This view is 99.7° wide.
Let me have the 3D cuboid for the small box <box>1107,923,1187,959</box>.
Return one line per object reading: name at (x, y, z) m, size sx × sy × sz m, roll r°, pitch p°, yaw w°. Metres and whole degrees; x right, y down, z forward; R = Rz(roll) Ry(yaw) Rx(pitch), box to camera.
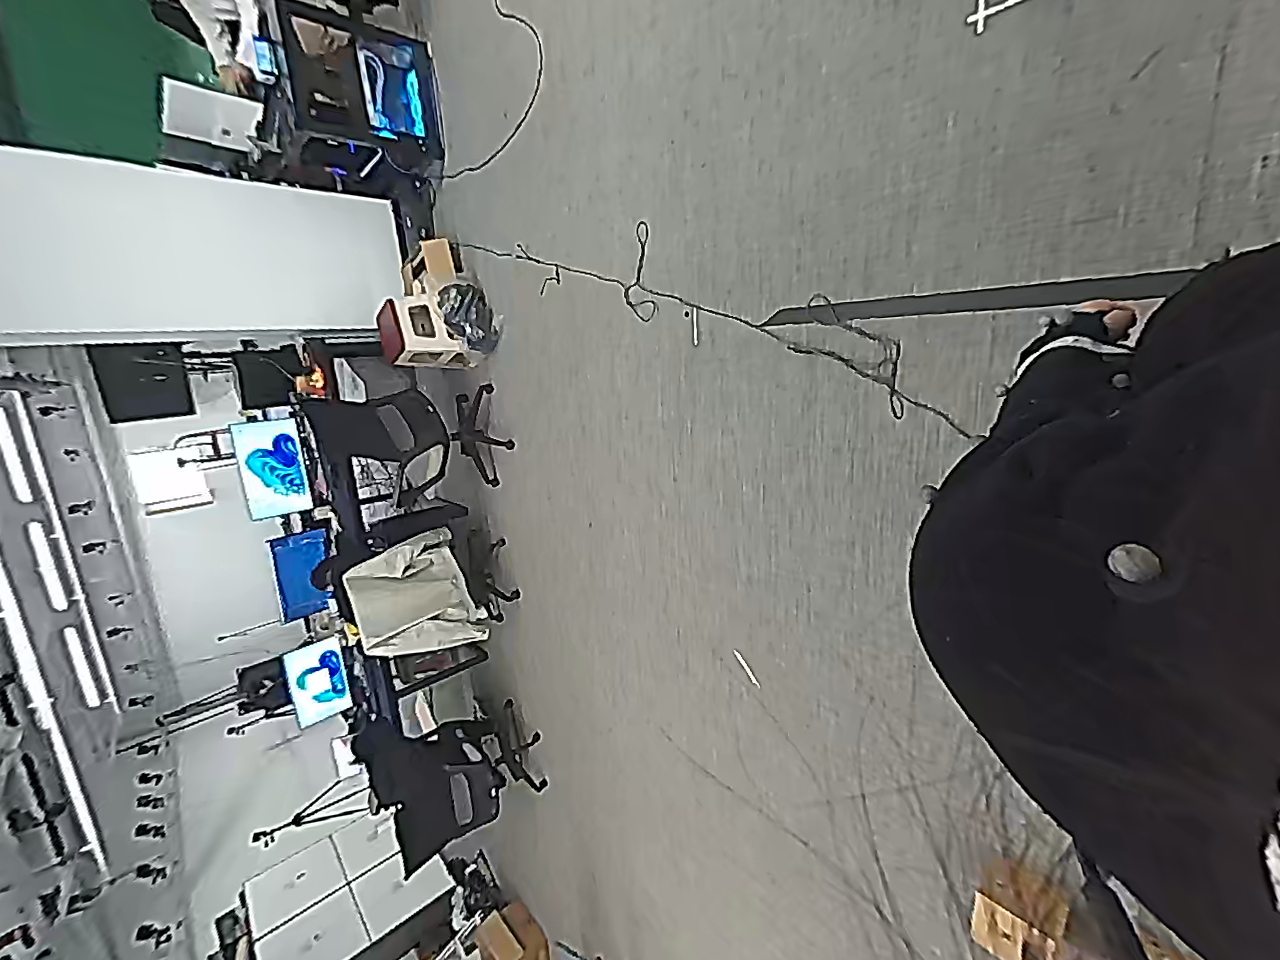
small box at (1.178, 1.195, 1.244) m, size 0.168 × 0.176 × 0.179 m, roll 15°, pitch 112°, yaw 45°
